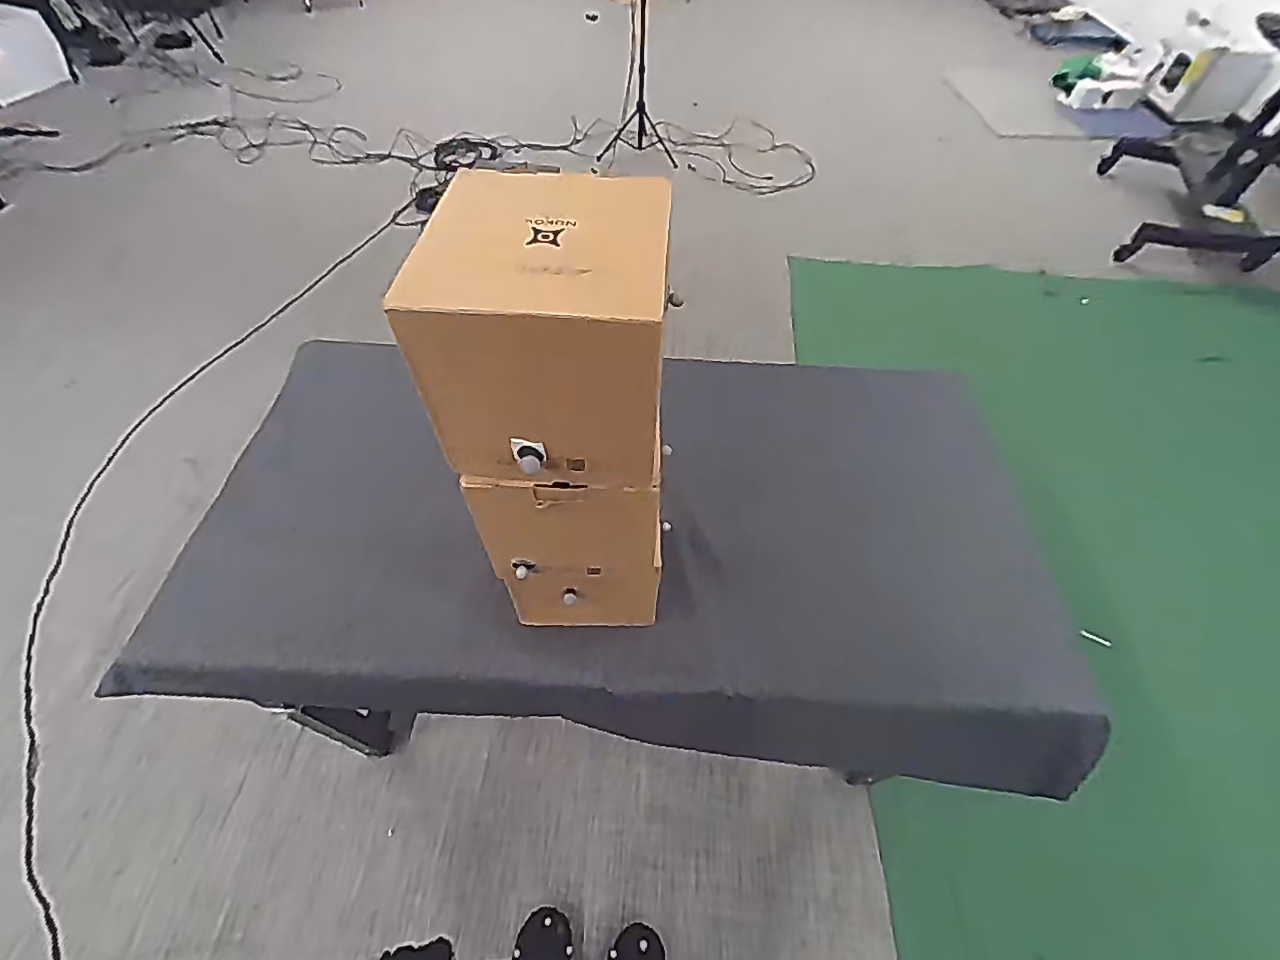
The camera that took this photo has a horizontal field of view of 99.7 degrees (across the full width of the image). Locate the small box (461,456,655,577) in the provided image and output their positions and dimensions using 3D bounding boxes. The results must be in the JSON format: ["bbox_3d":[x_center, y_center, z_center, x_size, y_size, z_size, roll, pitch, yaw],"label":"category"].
[{"bbox_3d":[-0.068,-0.011,0.561,0.168,0.176,0.179,1,52,0],"label":"small box"}]

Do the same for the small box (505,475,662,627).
[{"bbox_3d":[-0.066,0.081,0.701,0.179,0.176,0.168,-2,51,-3],"label":"small box"}]

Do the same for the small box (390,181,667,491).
[{"bbox_3d":[-0.066,-0.112,0.434,0.168,0.176,0.179,2,54,2],"label":"small box"}]
